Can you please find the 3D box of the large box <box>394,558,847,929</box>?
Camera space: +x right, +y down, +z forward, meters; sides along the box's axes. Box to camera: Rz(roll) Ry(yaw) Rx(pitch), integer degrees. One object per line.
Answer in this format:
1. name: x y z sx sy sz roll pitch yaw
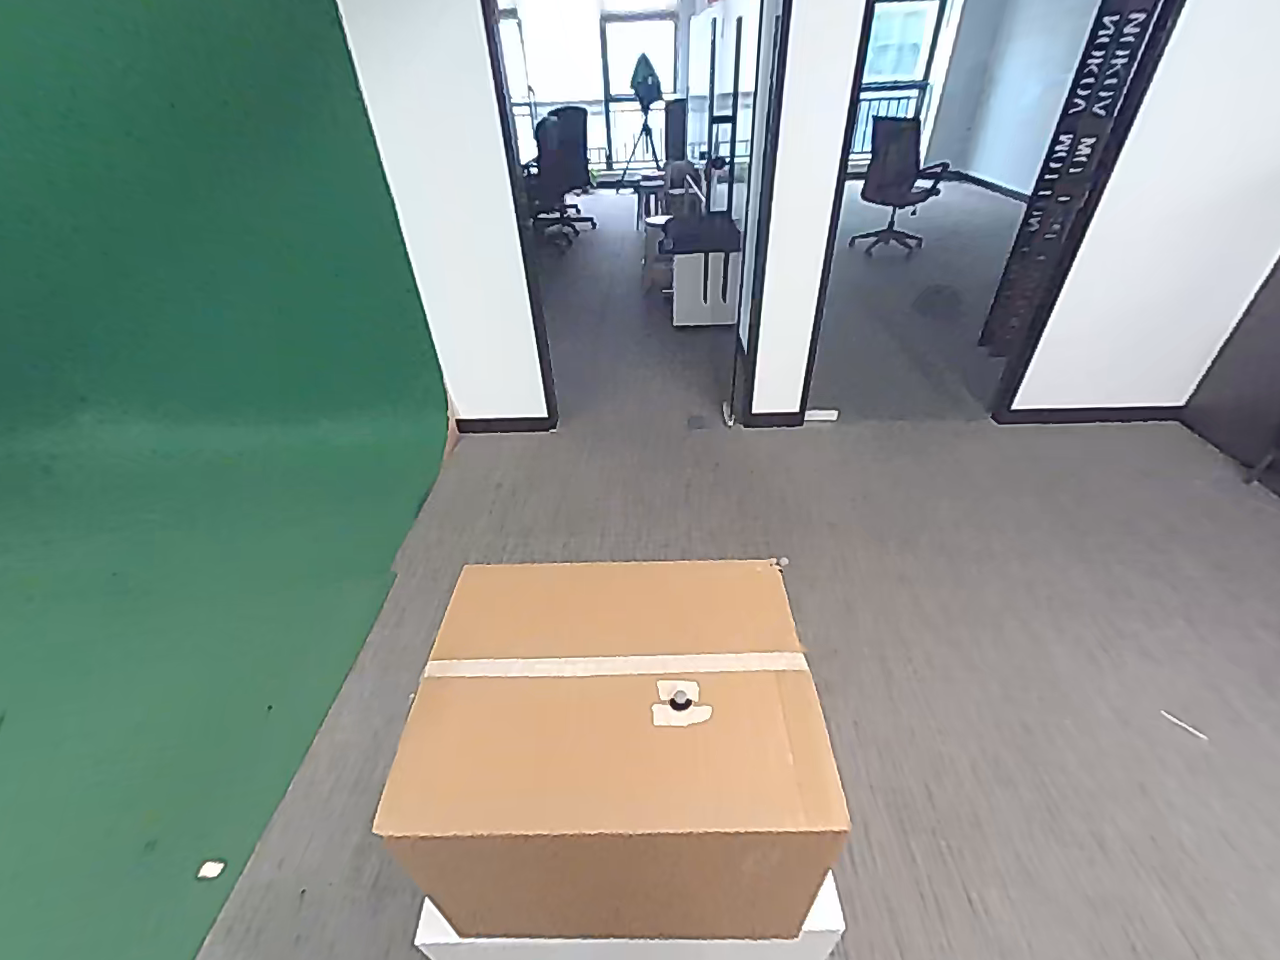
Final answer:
1. large box: -0.019 0.317 0.672 0.408 0.320 0.320 -1 38 0
